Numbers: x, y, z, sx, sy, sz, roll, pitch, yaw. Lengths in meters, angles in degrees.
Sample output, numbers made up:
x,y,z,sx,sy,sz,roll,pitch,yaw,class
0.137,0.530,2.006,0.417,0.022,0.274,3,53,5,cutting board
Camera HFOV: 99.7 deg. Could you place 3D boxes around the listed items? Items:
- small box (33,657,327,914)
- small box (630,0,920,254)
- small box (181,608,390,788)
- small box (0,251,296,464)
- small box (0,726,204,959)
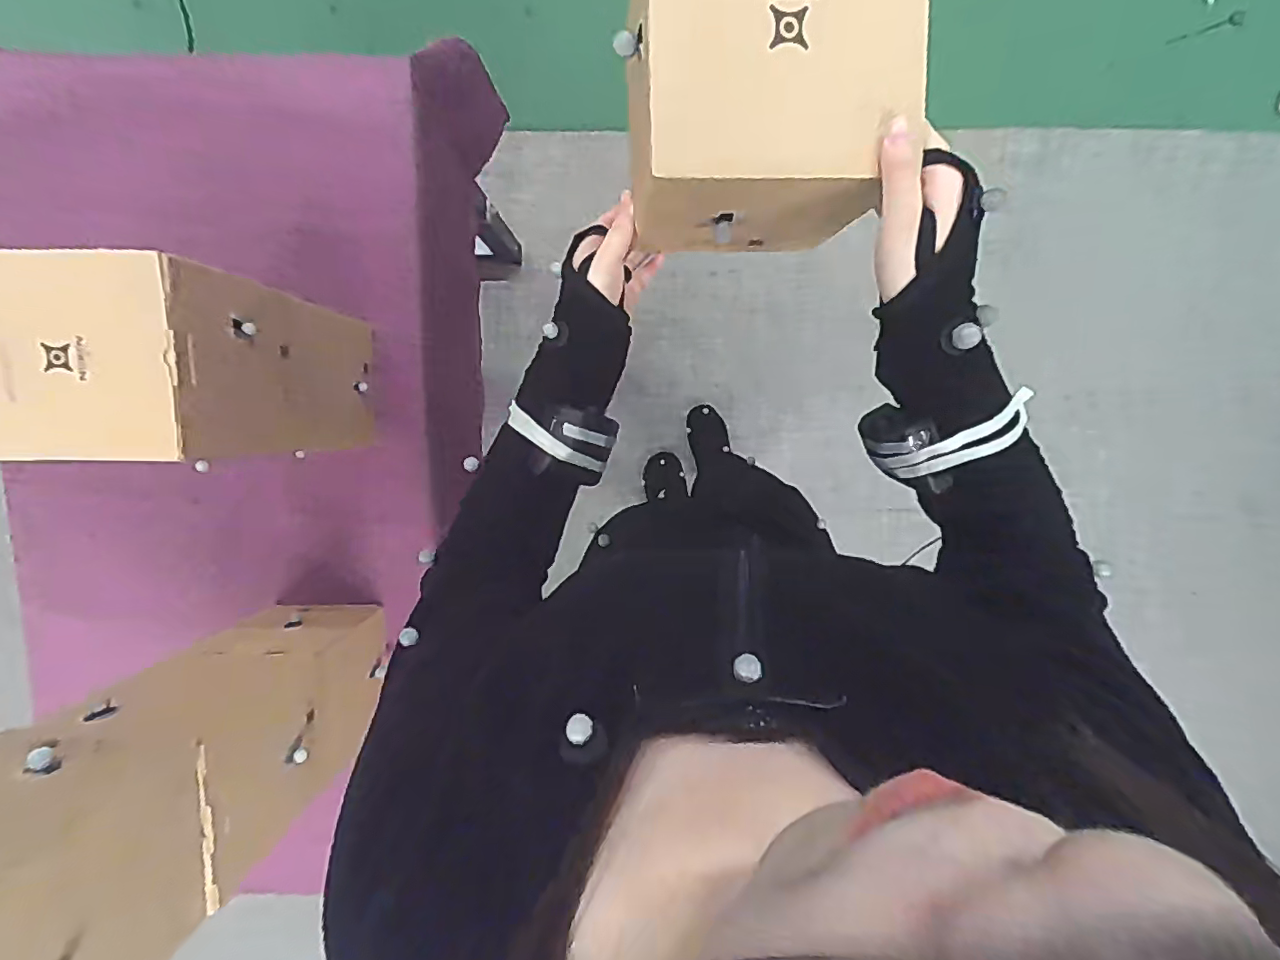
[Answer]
x,y,z,sx,sy,sz,roll,pitch,yaw,class
-0.457,0.294,0.553,0.179,0.176,0.168,0,97,0,small box
0.080,-0.275,0.398,0.168,0.176,0.179,-2,98,-4,small box
-0.452,0.276,0.718,0.168,0.176,0.179,-1,96,0,small box
-0.453,-0.105,0.508,0.179,0.176,0.168,0,96,0,small box
-0.458,0.308,0.389,0.168,0.176,0.179,2,96,0,small box
